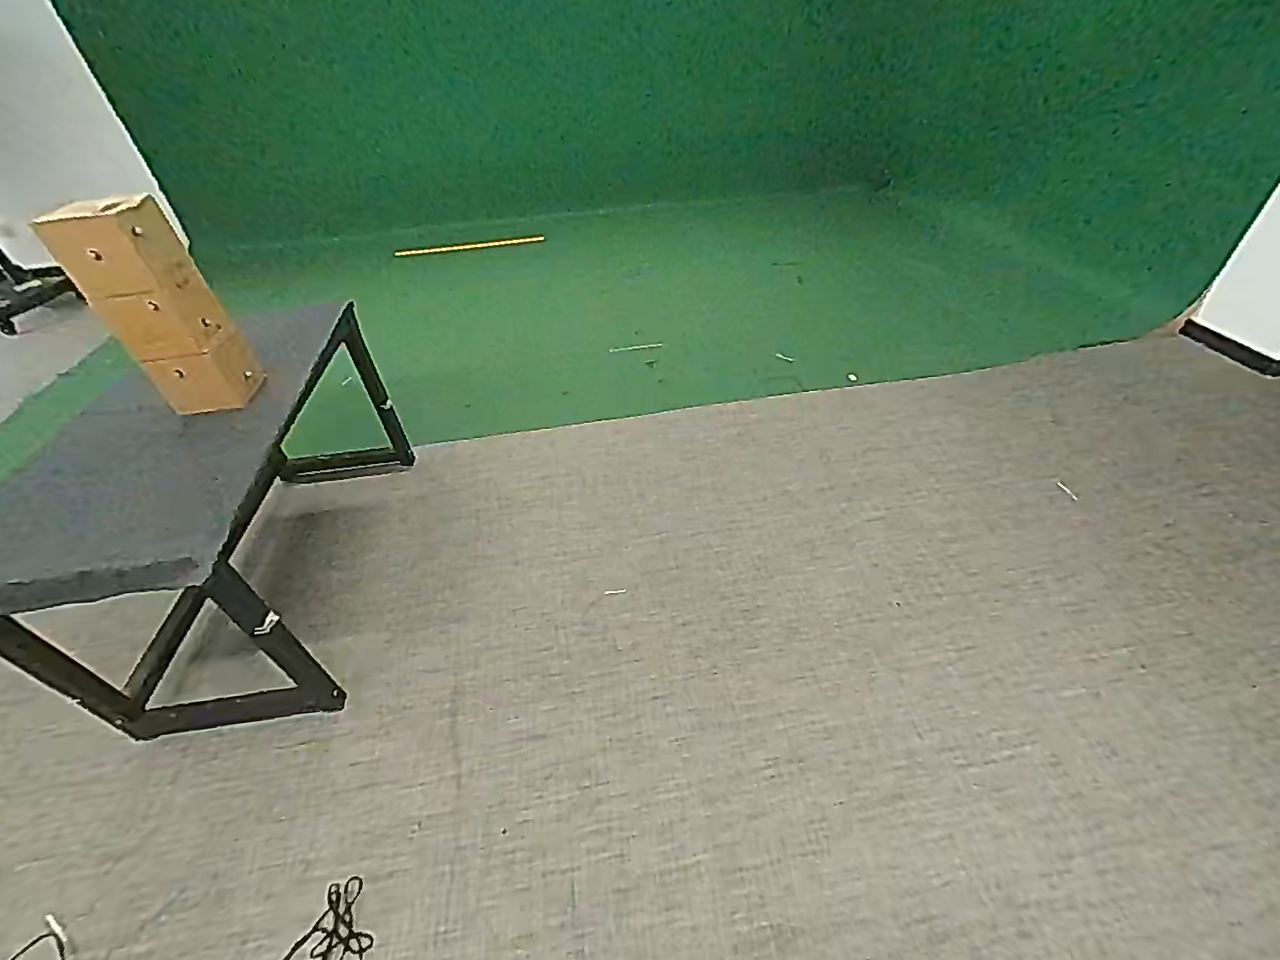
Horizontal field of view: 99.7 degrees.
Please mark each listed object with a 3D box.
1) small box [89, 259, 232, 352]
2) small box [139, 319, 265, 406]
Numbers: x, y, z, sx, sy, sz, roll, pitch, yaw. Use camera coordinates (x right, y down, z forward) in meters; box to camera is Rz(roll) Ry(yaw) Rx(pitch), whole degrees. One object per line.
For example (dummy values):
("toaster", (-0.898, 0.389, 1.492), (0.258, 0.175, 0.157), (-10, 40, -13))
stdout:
("small box", (-1.189, -0.434, 1.358), (0.179, 0.176, 0.168), (-7, 42, -4))
("small box", (-1.174, -0.316, 1.467), (0.179, 0.176, 0.168), (-7, 43, -4))
